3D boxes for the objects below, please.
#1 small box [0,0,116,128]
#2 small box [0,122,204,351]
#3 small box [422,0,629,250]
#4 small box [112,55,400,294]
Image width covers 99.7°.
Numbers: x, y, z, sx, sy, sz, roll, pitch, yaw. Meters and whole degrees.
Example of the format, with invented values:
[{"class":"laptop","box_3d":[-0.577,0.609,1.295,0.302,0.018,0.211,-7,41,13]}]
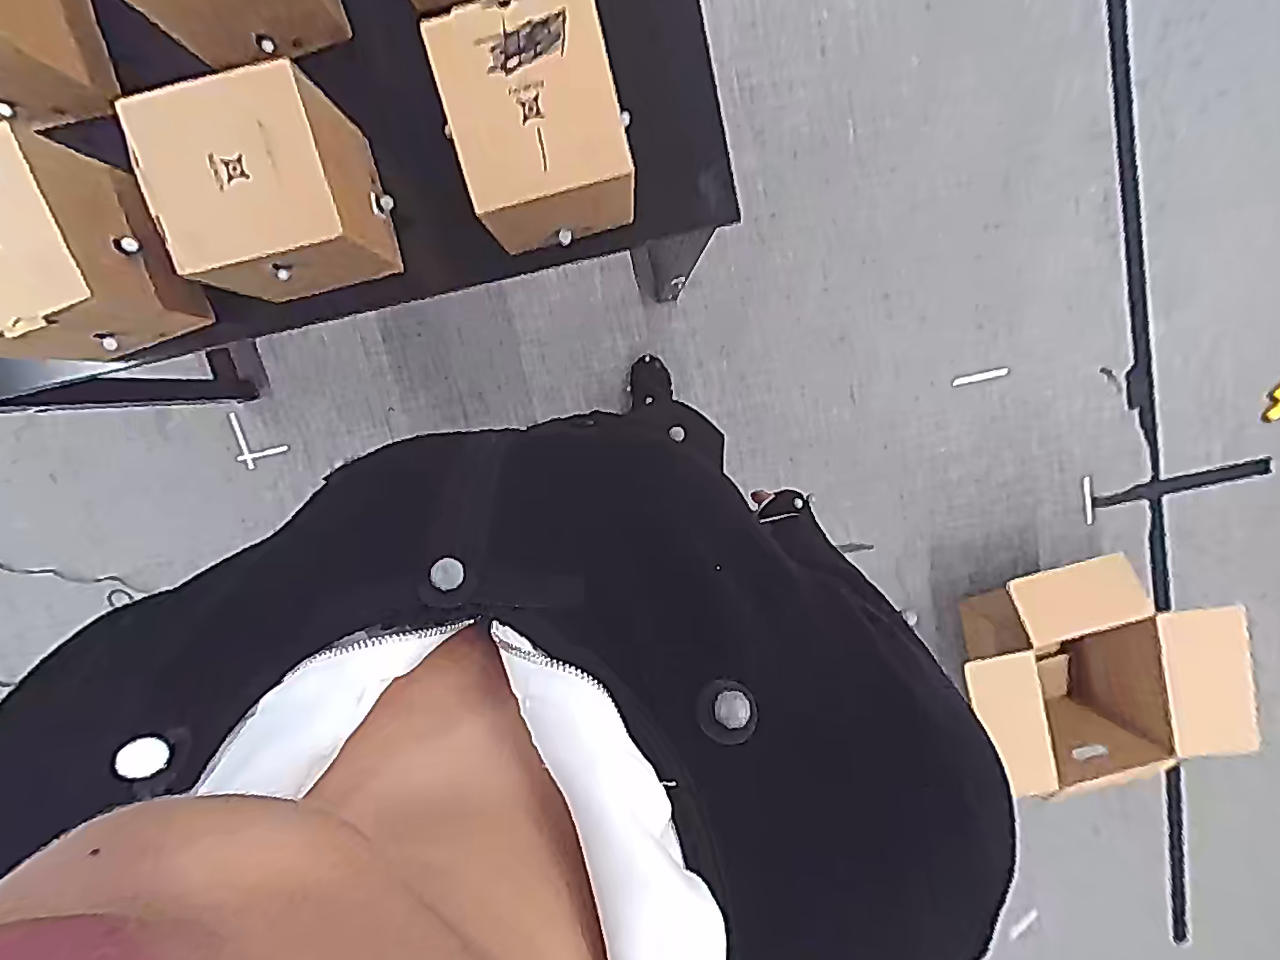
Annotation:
[{"class":"small box","box_3d":[-0.723,-0.509,0.564,0.168,0.176,0.179,-12,100,0]},{"class":"small box","box_3d":[-0.653,-0.251,0.607,0.168,0.176,0.179,-19,100,1]},{"class":"small box","box_3d":[-0.113,-0.383,0.603,0.168,0.176,0.179,-14,100,1]},{"class":"small box","box_3d":[-0.405,-0.320,0.606,0.179,0.176,0.168,-14,100,0]}]
